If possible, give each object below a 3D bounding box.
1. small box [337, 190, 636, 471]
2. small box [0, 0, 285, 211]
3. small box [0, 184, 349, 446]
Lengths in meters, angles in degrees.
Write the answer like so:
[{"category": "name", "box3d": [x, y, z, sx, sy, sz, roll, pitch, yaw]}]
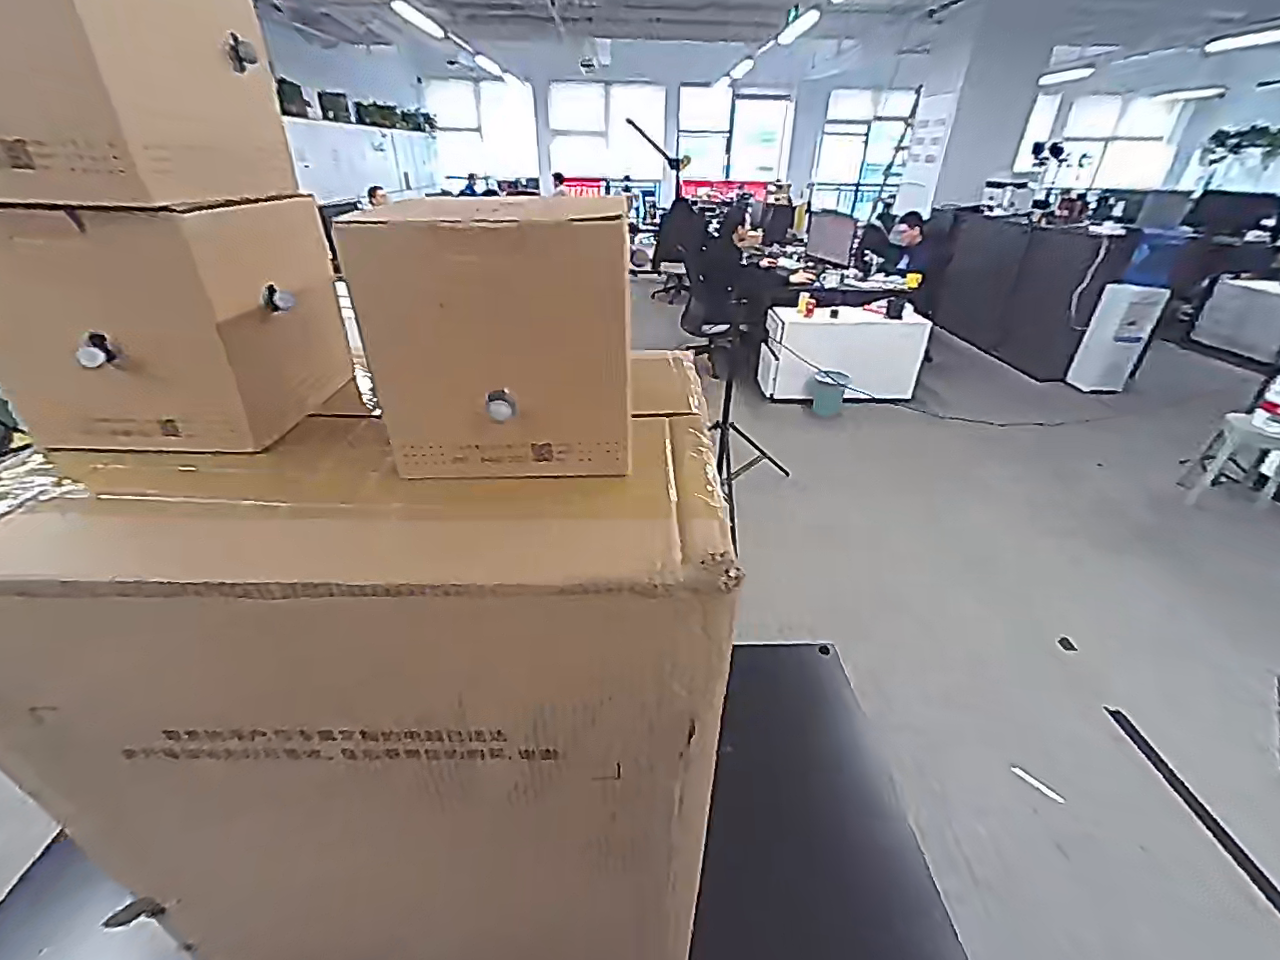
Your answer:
[{"category": "small box", "box3d": [-0.088, -0.120, 0.410, 0.168, 0.176, 0.179, -1, 31, 0]}, {"category": "small box", "box3d": [-0.358, -0.271, 0.337, 0.168, 0.176, 0.179, -1, 31, -3]}, {"category": "small box", "box3d": [-0.362, -0.137, 0.432, 0.168, 0.176, 0.179, 1, 31, -3]}]
